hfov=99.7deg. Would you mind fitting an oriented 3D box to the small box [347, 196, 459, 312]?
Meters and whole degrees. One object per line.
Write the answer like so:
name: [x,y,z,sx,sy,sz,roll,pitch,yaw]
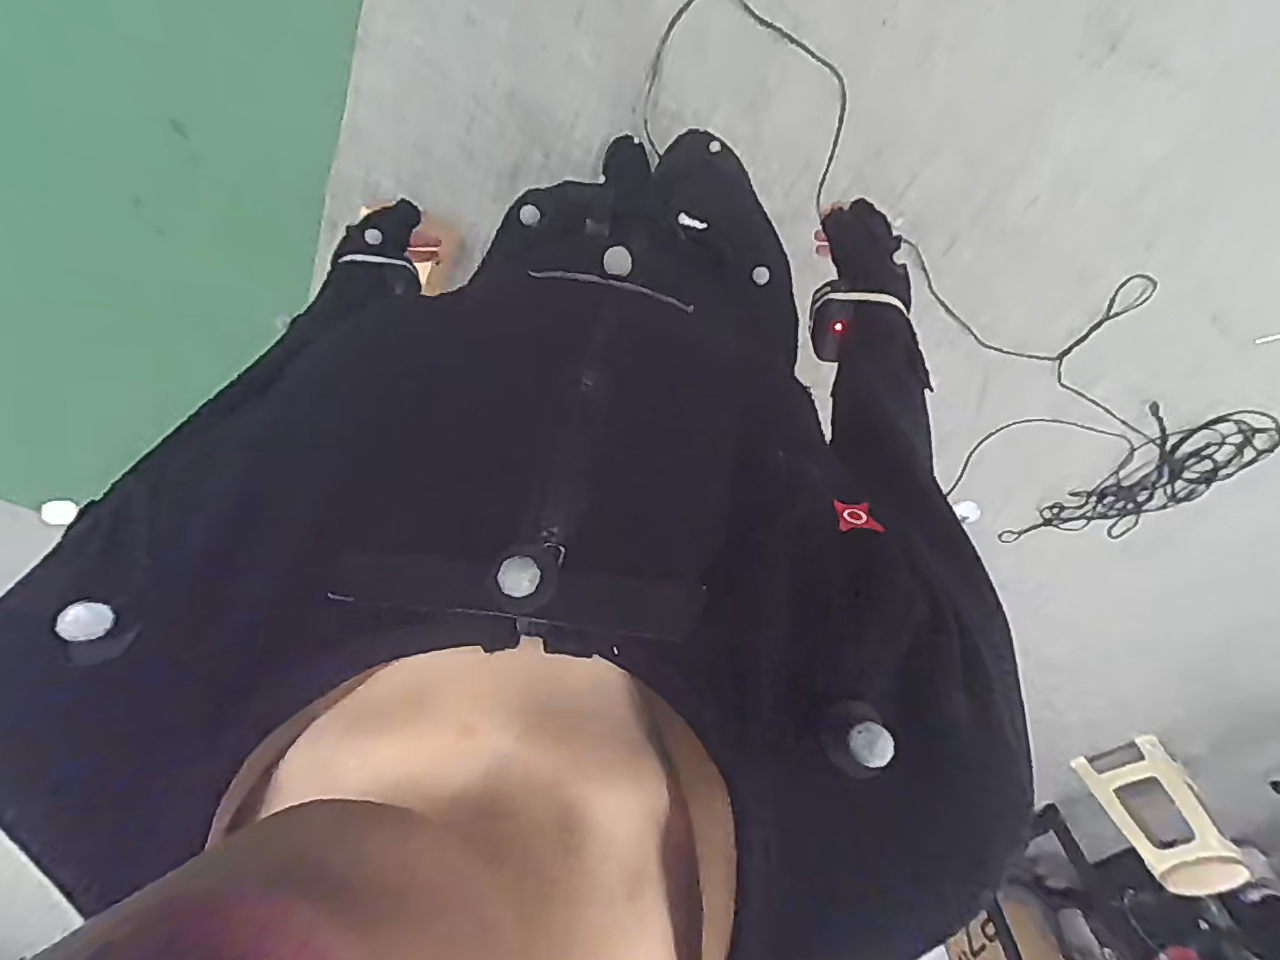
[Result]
small box: [-0.535,-0.523,1.241,0.168,0.176,0.179,26,121,-14]
